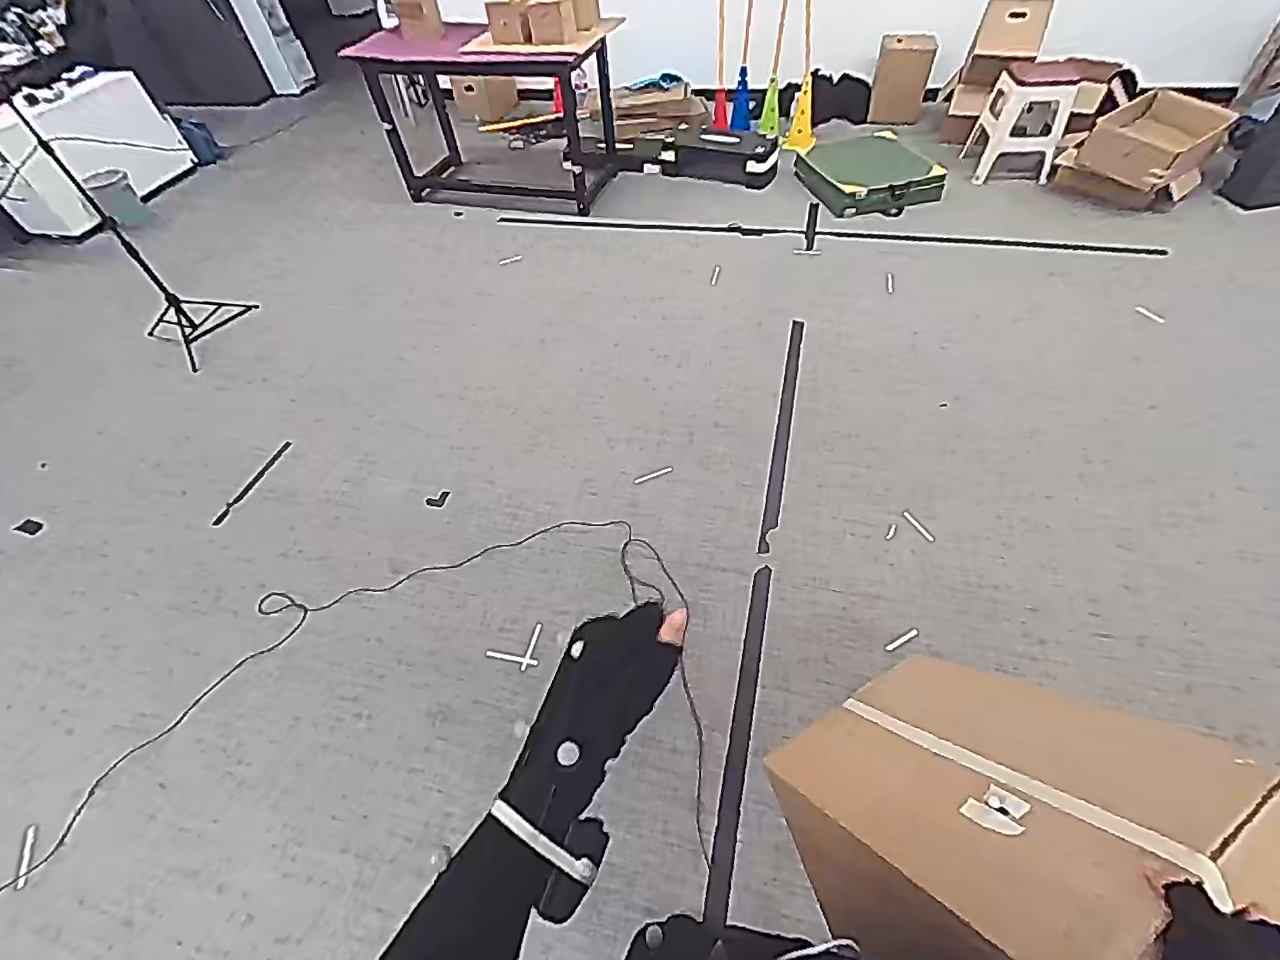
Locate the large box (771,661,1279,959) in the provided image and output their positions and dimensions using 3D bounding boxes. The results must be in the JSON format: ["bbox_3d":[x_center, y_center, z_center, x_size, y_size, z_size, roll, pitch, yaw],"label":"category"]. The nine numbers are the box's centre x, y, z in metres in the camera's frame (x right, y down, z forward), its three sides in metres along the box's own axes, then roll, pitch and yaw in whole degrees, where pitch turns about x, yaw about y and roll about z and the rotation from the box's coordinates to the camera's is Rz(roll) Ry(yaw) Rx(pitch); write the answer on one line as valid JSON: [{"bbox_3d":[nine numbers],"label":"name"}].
[{"bbox_3d":[0.426,0.459,0.612,0.320,0.408,0.320,-23,94,-19],"label":"large box"}]
